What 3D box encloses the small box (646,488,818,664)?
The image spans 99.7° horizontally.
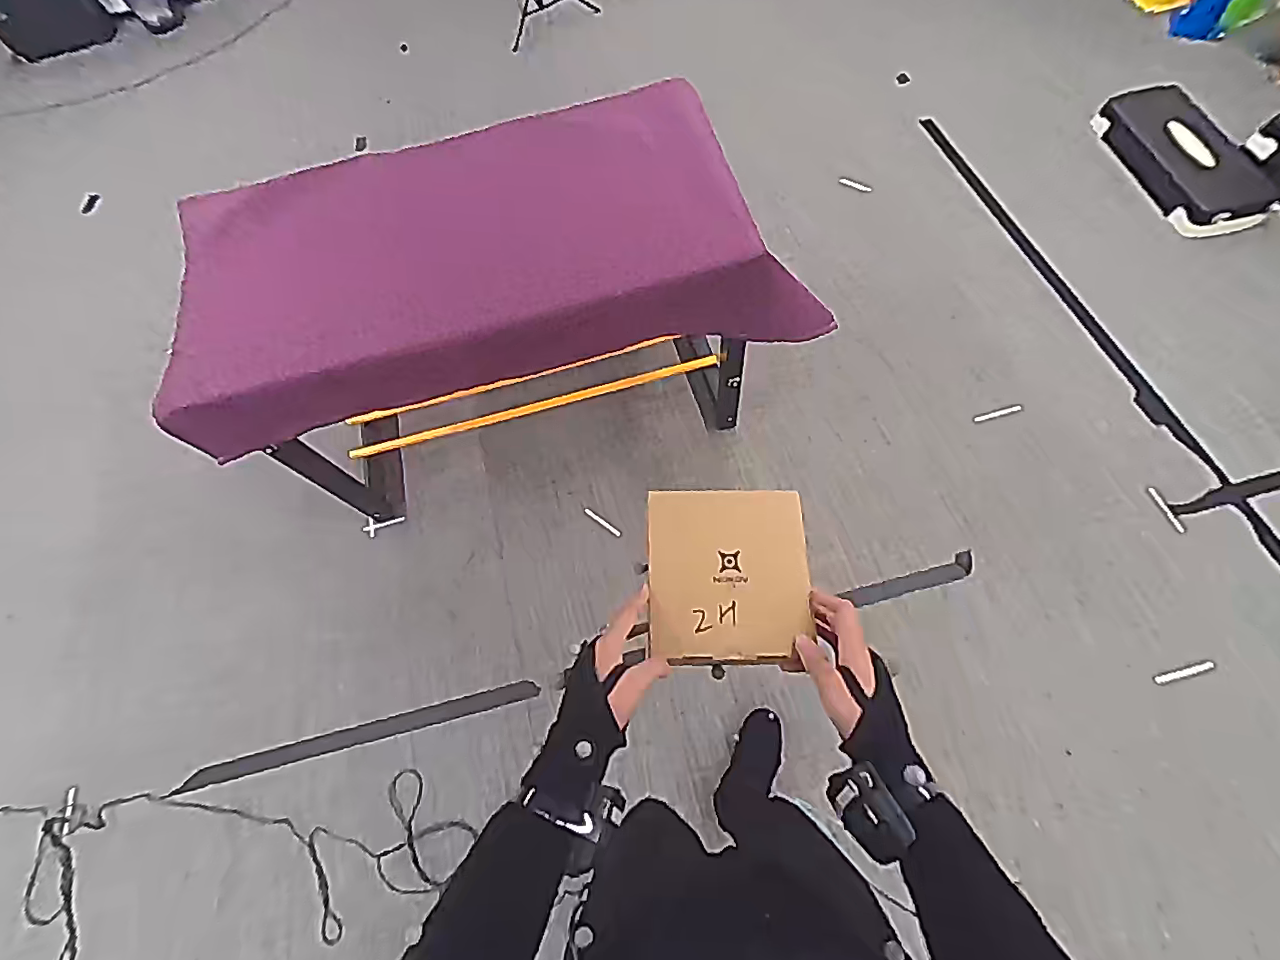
[{"bbox_3d":[0.092,0.119,0.633,0.168,0.176,0.179,0,70,-1],"label":"small box"}]
